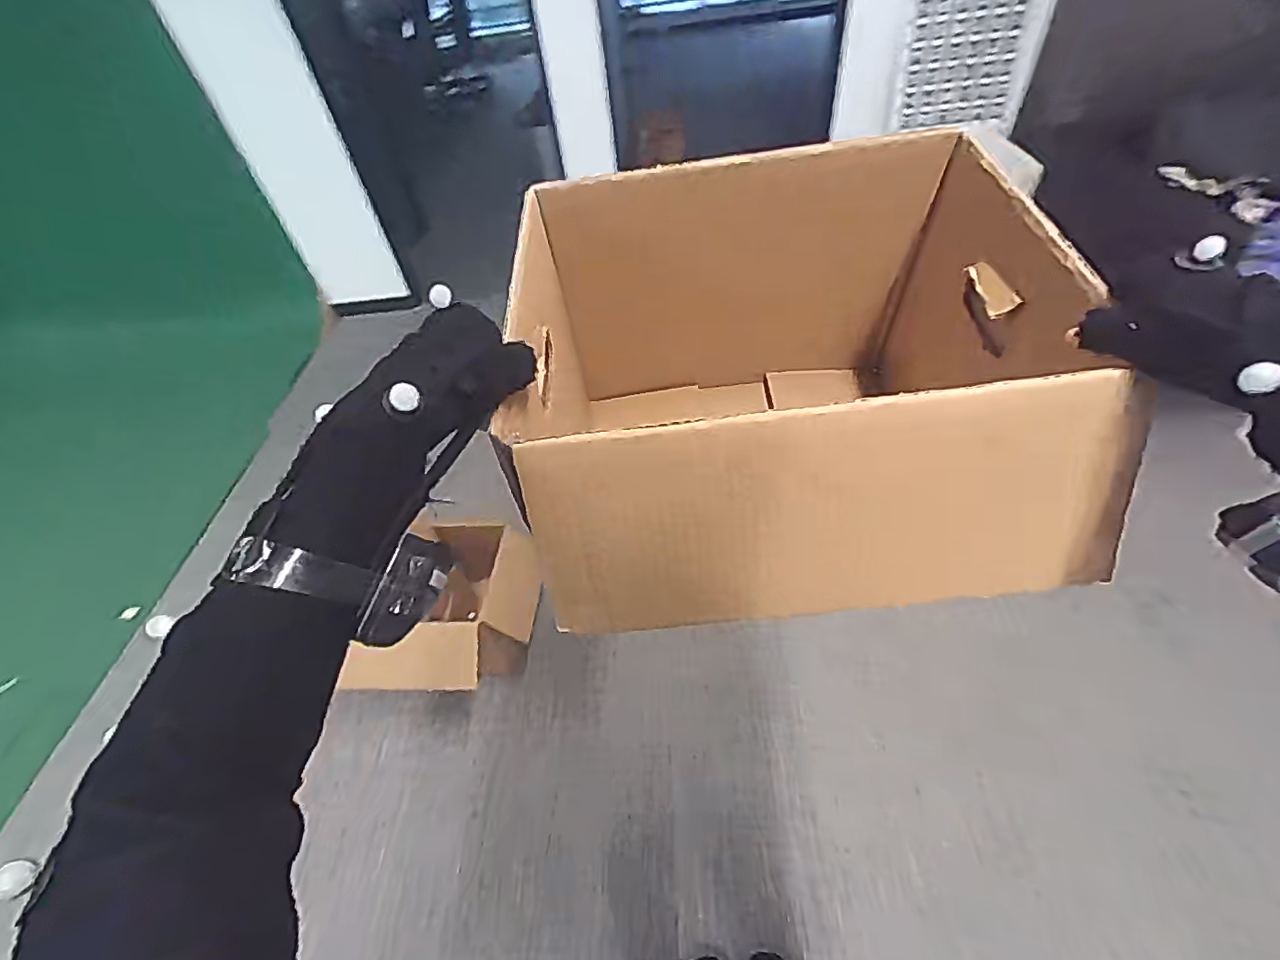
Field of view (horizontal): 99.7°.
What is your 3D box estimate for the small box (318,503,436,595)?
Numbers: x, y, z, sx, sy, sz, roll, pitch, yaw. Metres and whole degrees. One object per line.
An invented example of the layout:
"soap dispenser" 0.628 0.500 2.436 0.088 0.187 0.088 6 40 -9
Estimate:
"small box" -0.640 0.174 1.339 0.179 0.176 0.168 -3 49 7
